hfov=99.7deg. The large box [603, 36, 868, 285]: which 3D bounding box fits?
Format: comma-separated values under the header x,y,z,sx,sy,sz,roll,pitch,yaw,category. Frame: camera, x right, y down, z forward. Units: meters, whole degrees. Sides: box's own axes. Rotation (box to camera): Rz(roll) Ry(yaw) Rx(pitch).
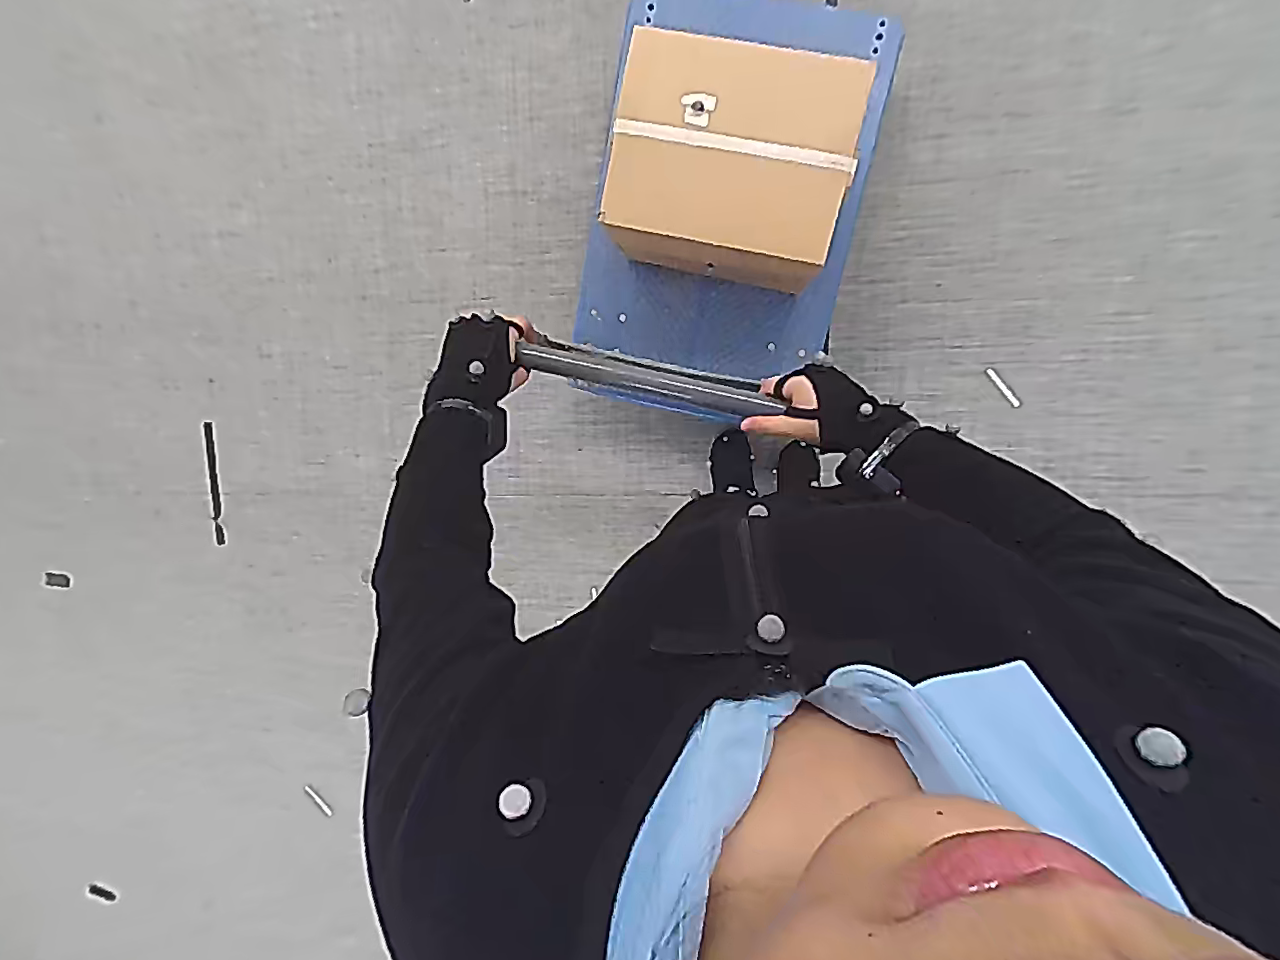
x,y,z,sx,sy,sz,roll,pitch,yaw,category
0.179,-0.597,1.073,0.408,0.320,0.320,14,101,7,large box
